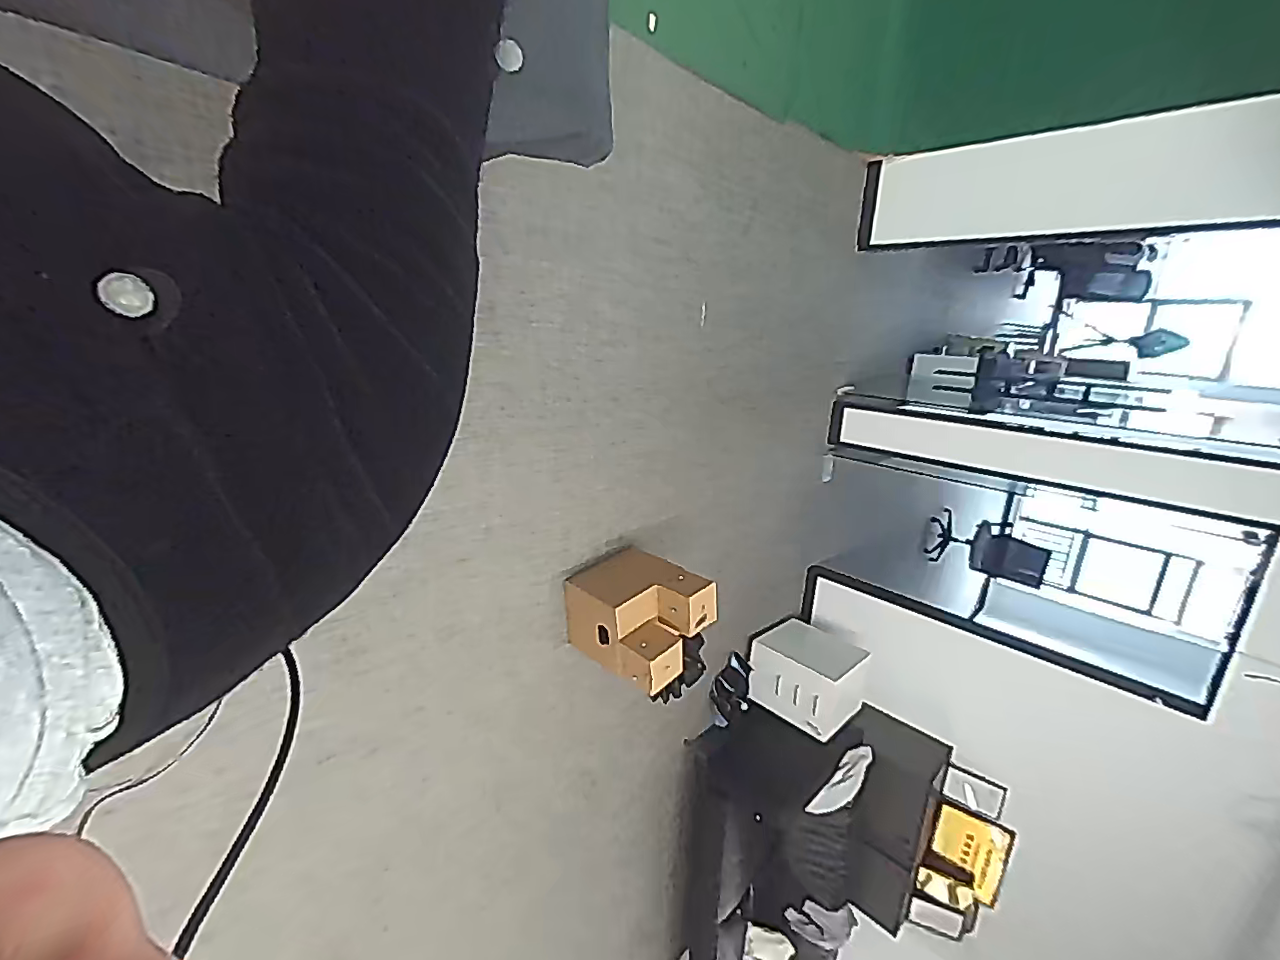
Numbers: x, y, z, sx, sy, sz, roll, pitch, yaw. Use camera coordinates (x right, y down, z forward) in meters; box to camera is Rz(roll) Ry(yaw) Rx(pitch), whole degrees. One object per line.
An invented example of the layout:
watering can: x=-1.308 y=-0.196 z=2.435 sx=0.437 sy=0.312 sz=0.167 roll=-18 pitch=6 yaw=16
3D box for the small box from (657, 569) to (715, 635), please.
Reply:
small box: x=0.183 y=0.481 z=2.155 sx=0.168 sy=0.176 sz=0.179 roll=-20 pitch=114 yaw=-42

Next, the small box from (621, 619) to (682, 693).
small box: x=0.040 y=0.668 z=2.065 sx=0.179 sy=0.176 sz=0.168 roll=-26 pitch=124 yaw=-40
